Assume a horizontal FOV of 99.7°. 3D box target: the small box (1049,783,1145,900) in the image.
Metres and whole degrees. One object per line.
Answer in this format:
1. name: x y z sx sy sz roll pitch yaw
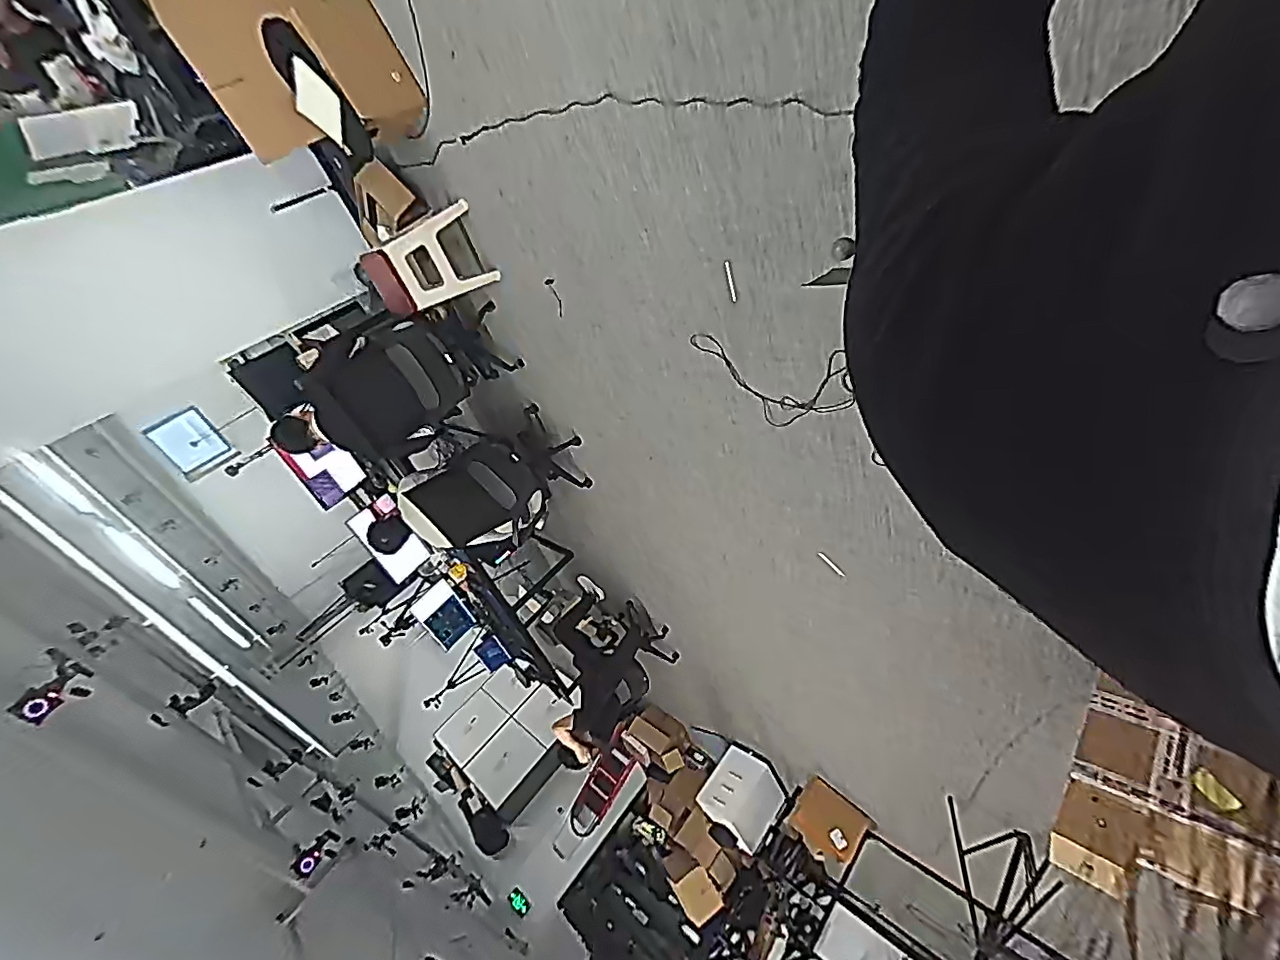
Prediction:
1. small box: 1.242 0.974 1.471 0.168 0.176 0.179 15 136 47
